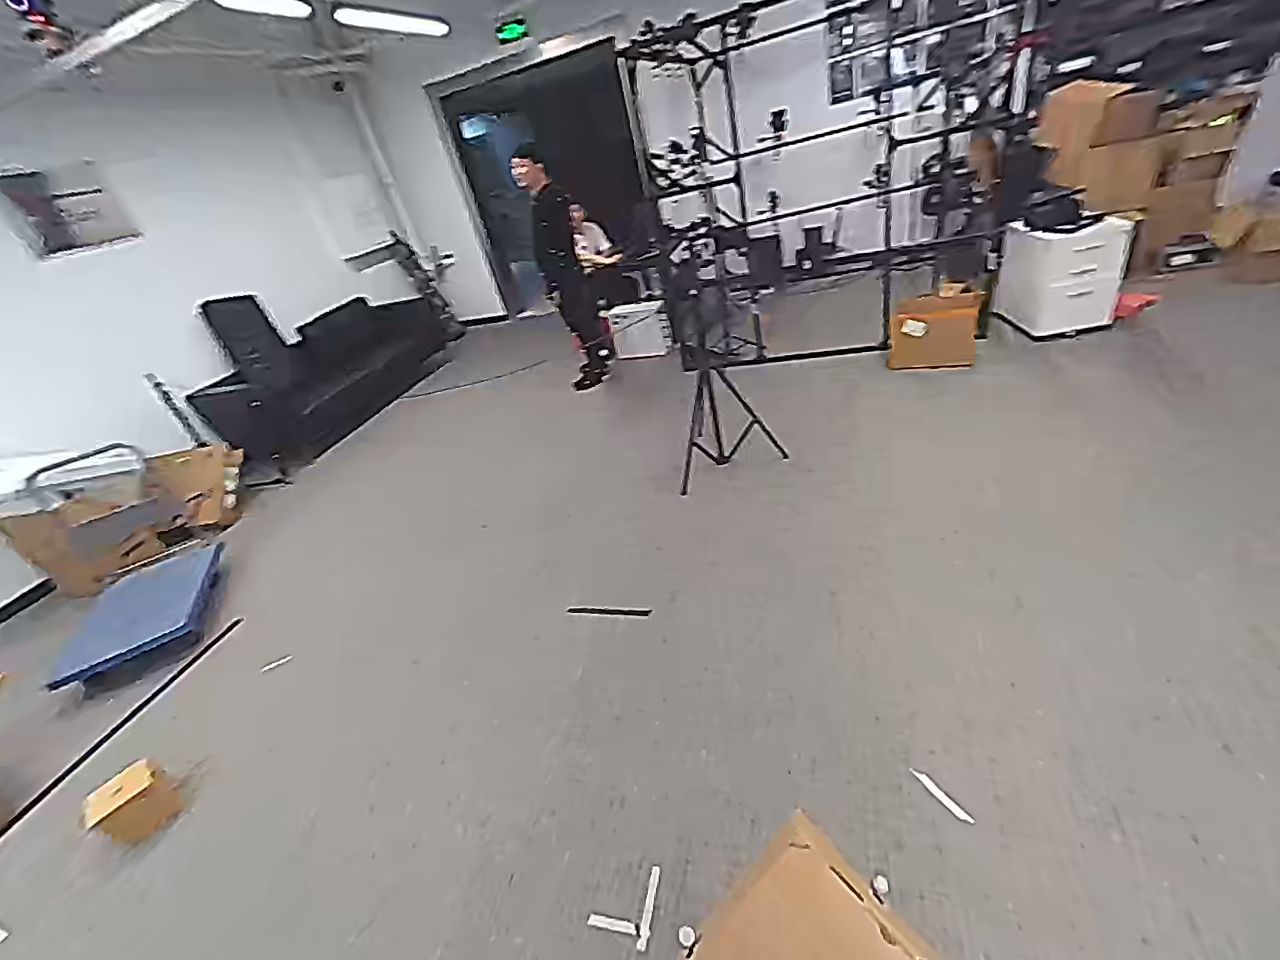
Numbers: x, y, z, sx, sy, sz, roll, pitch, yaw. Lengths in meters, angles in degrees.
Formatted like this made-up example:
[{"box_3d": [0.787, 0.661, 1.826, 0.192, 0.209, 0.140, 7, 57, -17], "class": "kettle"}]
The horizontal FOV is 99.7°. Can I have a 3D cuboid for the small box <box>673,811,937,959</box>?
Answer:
[{"box_3d": [0.135, 0.409, 0.439, 0.179, 0.176, 0.168, -46, 63, -8], "class": "small box"}]

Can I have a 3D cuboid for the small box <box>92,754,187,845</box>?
[{"box_3d": [-1.713, 1.098, 1.853, 0.168, 0.176, 0.179, 16, 43, 41], "class": "small box"}]
